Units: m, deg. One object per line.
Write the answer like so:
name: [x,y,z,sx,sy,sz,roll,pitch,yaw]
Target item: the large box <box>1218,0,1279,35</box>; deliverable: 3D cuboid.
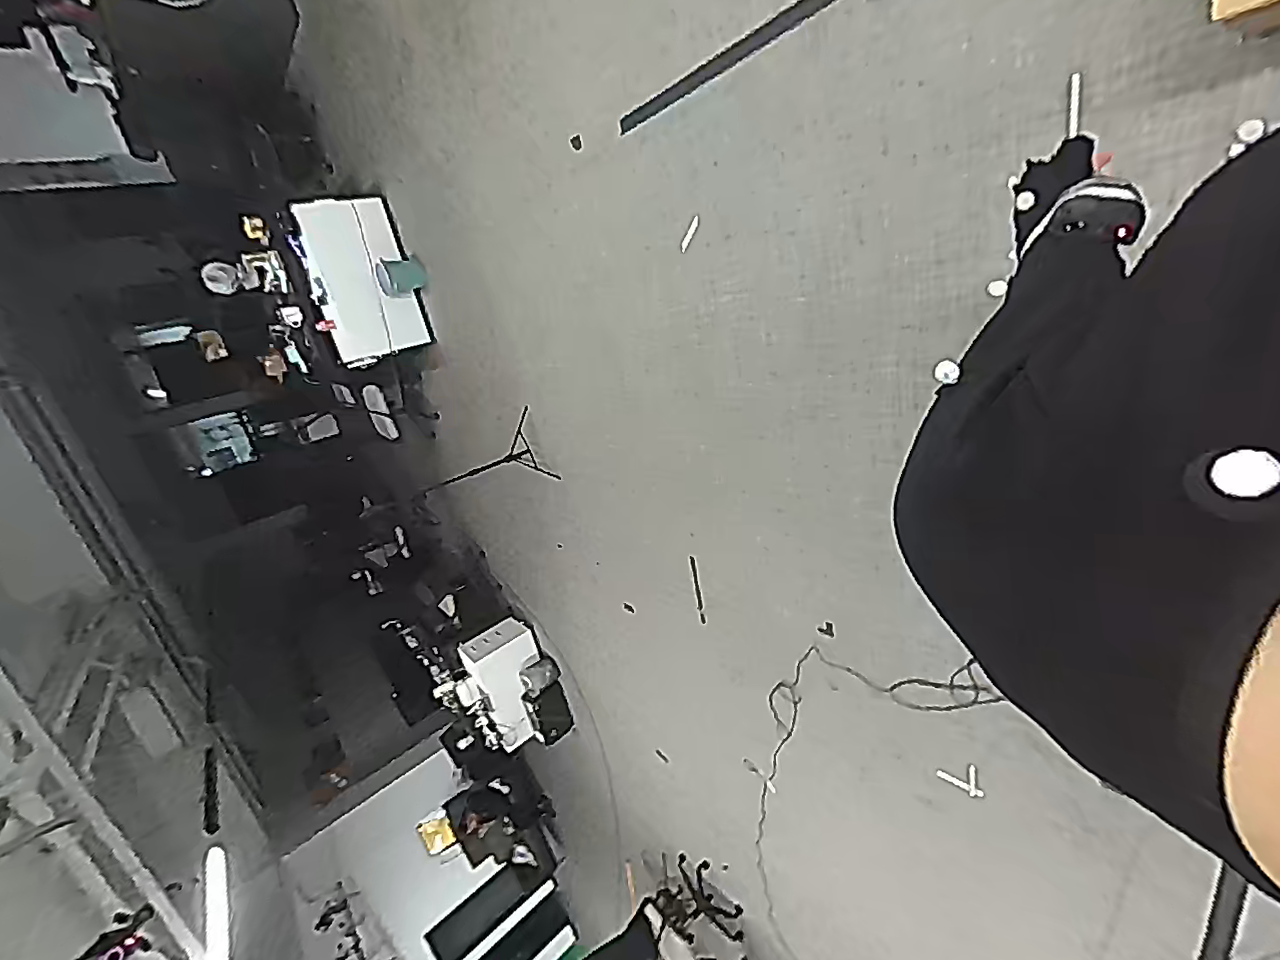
large box: [0.964,-0.795,0.606,0.408,0.320,0.320,9,119,49]
